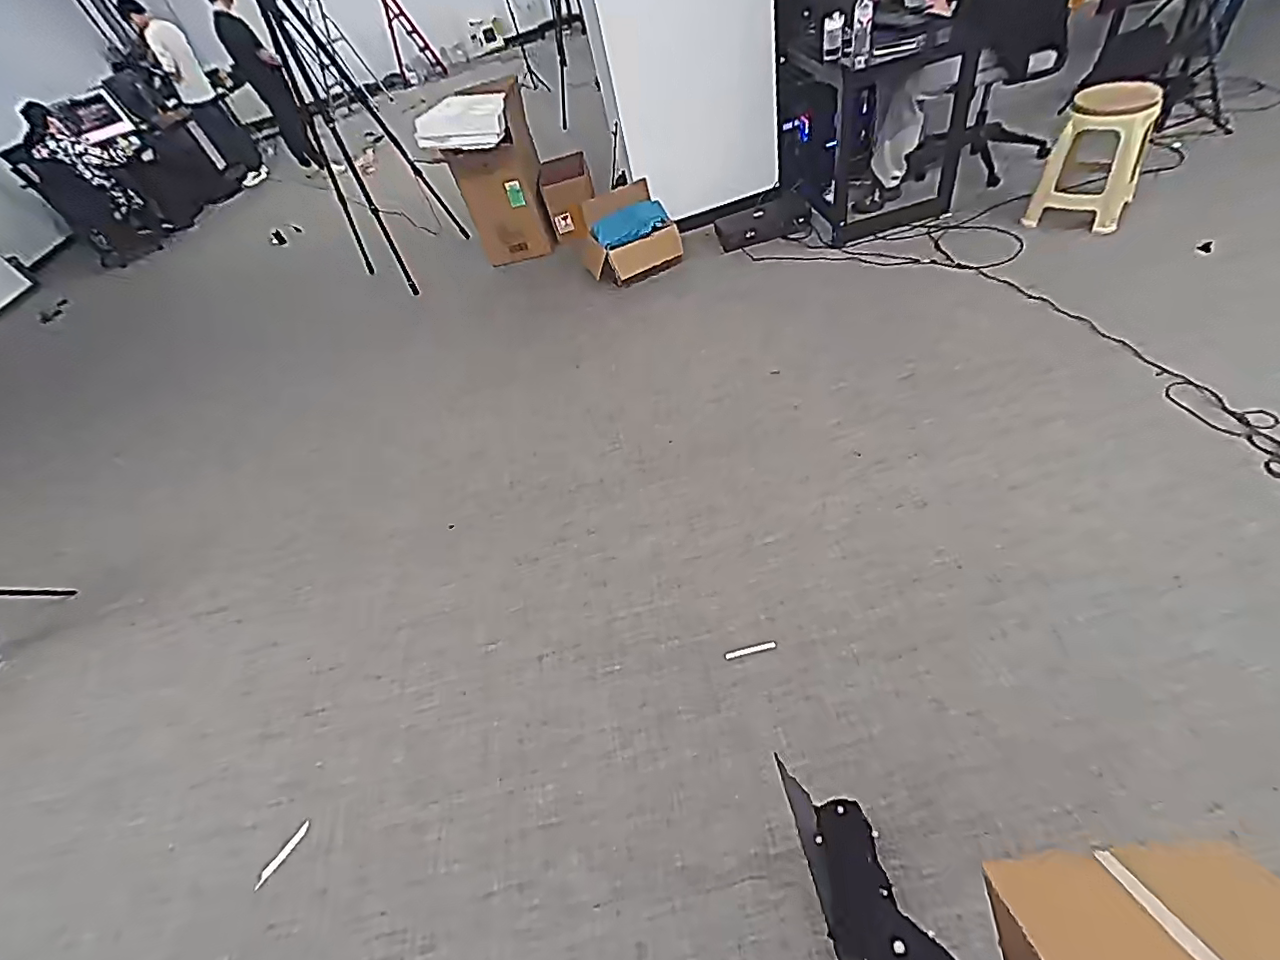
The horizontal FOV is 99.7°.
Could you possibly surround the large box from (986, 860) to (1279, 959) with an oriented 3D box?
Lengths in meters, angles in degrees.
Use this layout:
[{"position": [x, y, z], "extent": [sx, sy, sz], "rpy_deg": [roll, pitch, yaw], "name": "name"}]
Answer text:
[{"position": [0.630, 0.673, 0.539], "extent": [0.320, 0.408, 0.320], "rpy_deg": [-13, 86, 10], "name": "large box"}]
